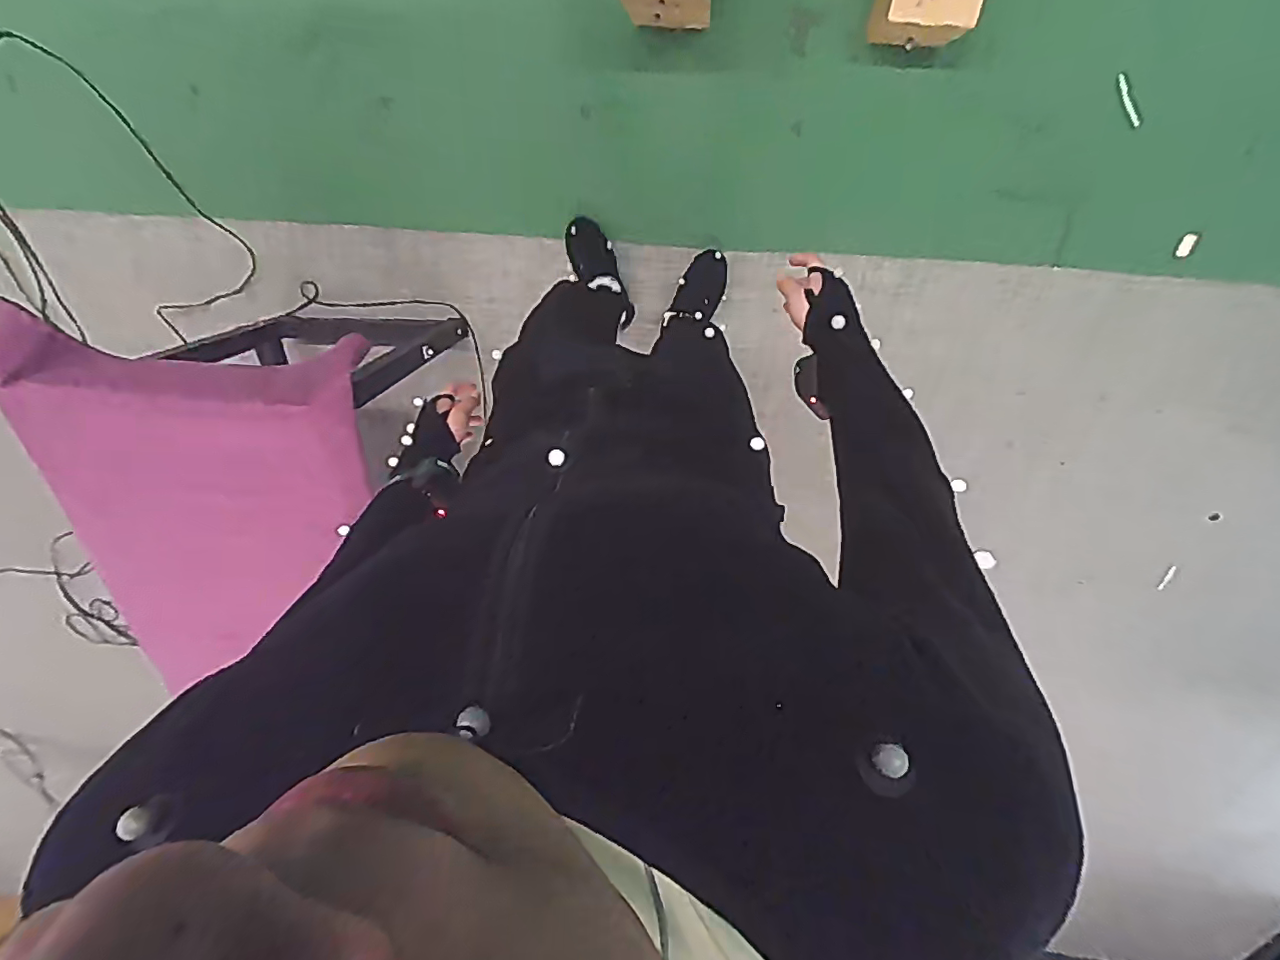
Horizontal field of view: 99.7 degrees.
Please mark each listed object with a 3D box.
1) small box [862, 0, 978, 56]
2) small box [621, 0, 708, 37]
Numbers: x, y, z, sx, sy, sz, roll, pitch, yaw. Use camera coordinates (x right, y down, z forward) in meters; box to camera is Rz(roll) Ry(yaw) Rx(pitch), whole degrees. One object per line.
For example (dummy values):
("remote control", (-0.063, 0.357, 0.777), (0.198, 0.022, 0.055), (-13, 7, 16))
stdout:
("small box", (0.557, -0.968, 1.064), (0.168, 0.176, 0.179), (6, 118, 2))
("small box", (0.057, -1.022, 1.088), (0.168, 0.176, 0.179), (5, 117, 3))
